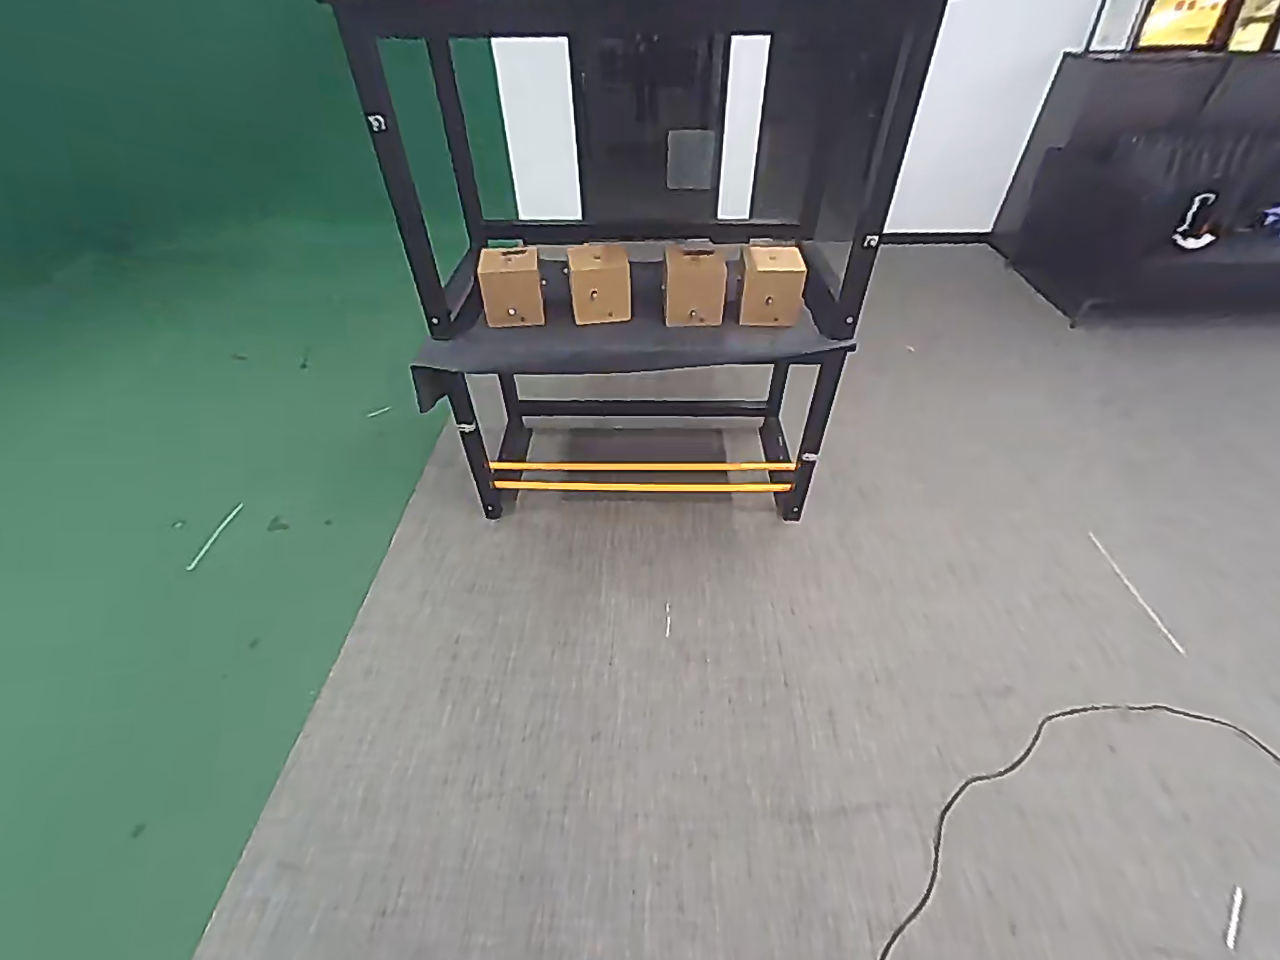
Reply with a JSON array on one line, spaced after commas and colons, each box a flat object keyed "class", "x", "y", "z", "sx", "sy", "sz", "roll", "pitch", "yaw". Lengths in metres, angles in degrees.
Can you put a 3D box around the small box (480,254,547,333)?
[{"class": "small box", "x": -0.371, "y": -0.554, "z": 1.608, "sx": 0.168, "sy": 0.176, "sz": 0.179, "roll": -6, "pitch": 44, "yaw": -5}]
